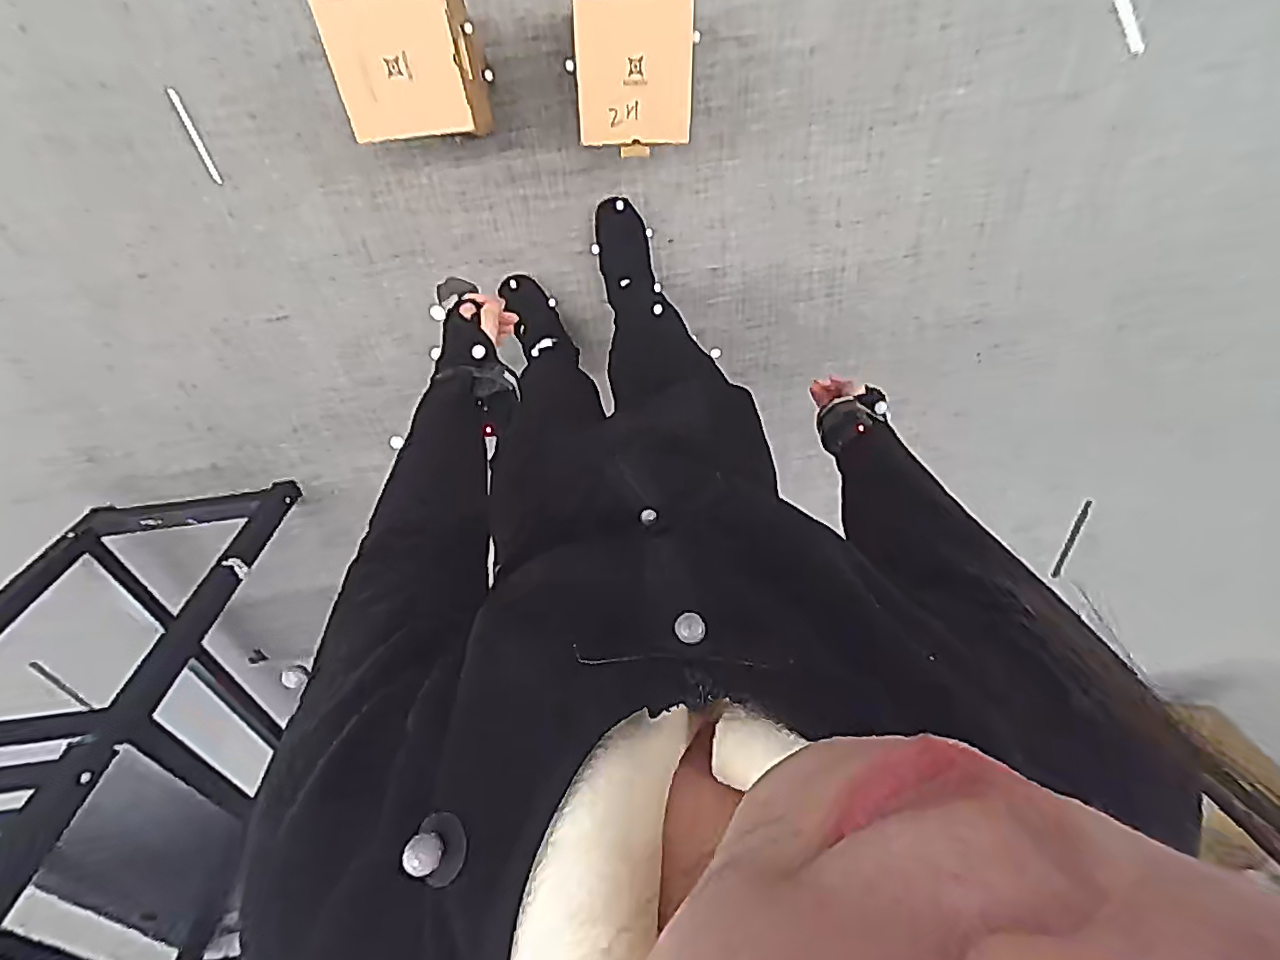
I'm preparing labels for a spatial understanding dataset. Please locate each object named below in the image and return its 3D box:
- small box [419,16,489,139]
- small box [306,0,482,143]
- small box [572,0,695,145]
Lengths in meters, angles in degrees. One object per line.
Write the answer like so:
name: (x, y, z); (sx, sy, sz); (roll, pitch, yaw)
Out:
small box: (-0.364, -0.695, 0.933); (0.179, 0.176, 0.168); (-5, 127, -5)
small box: (-0.340, -0.608, 0.795); (0.179, 0.176, 0.168); (-7, 127, -1)
small box: (-0.016, -0.620, 0.825); (0.168, 0.176, 0.179); (-3, 127, -4)
